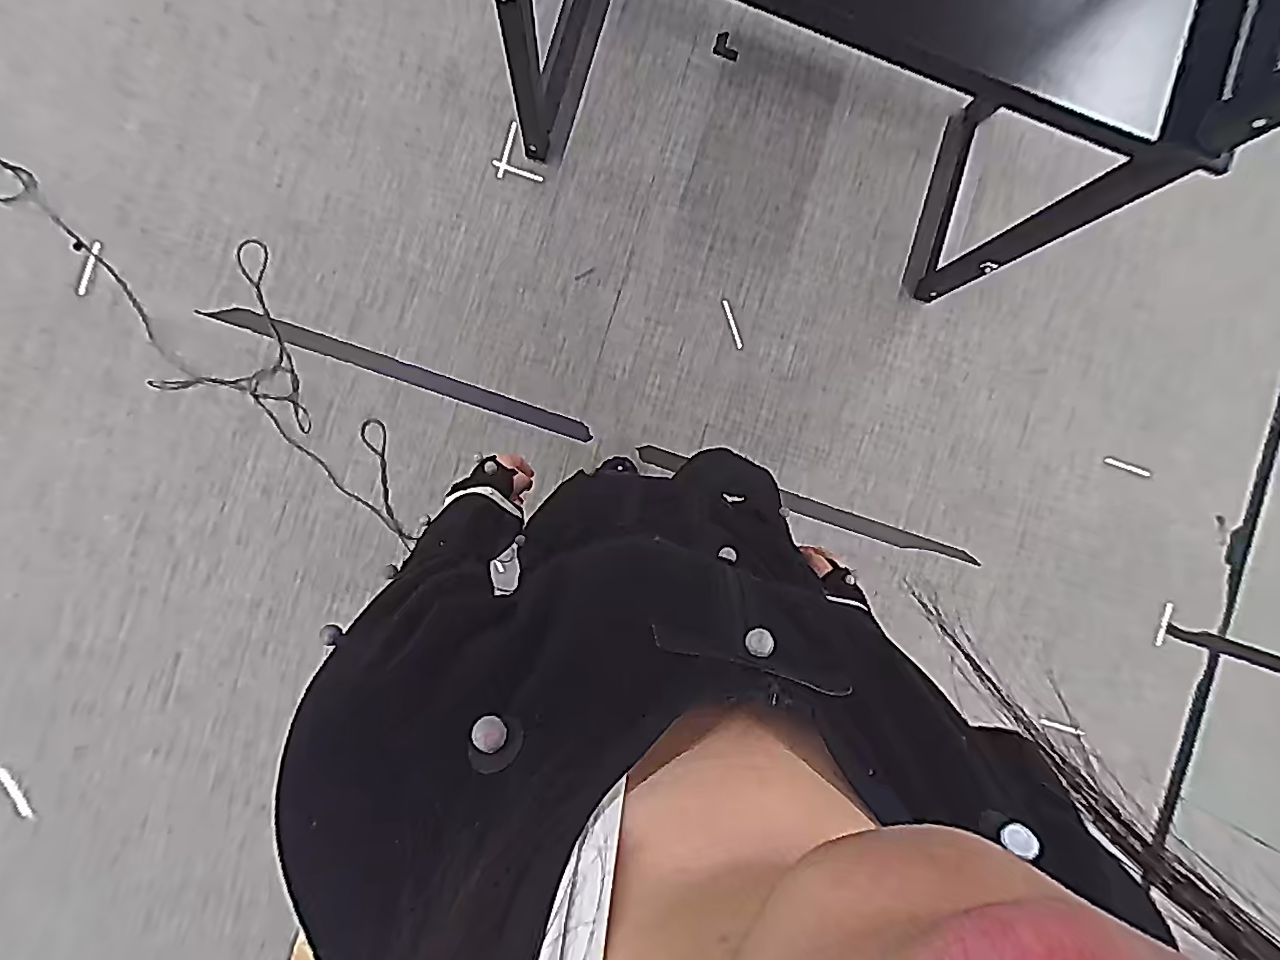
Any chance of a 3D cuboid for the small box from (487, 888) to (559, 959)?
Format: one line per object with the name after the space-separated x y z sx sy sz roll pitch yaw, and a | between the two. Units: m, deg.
-0.301 1.191 1.383 0.168 0.176 0.179 8 90 -6 | small box
